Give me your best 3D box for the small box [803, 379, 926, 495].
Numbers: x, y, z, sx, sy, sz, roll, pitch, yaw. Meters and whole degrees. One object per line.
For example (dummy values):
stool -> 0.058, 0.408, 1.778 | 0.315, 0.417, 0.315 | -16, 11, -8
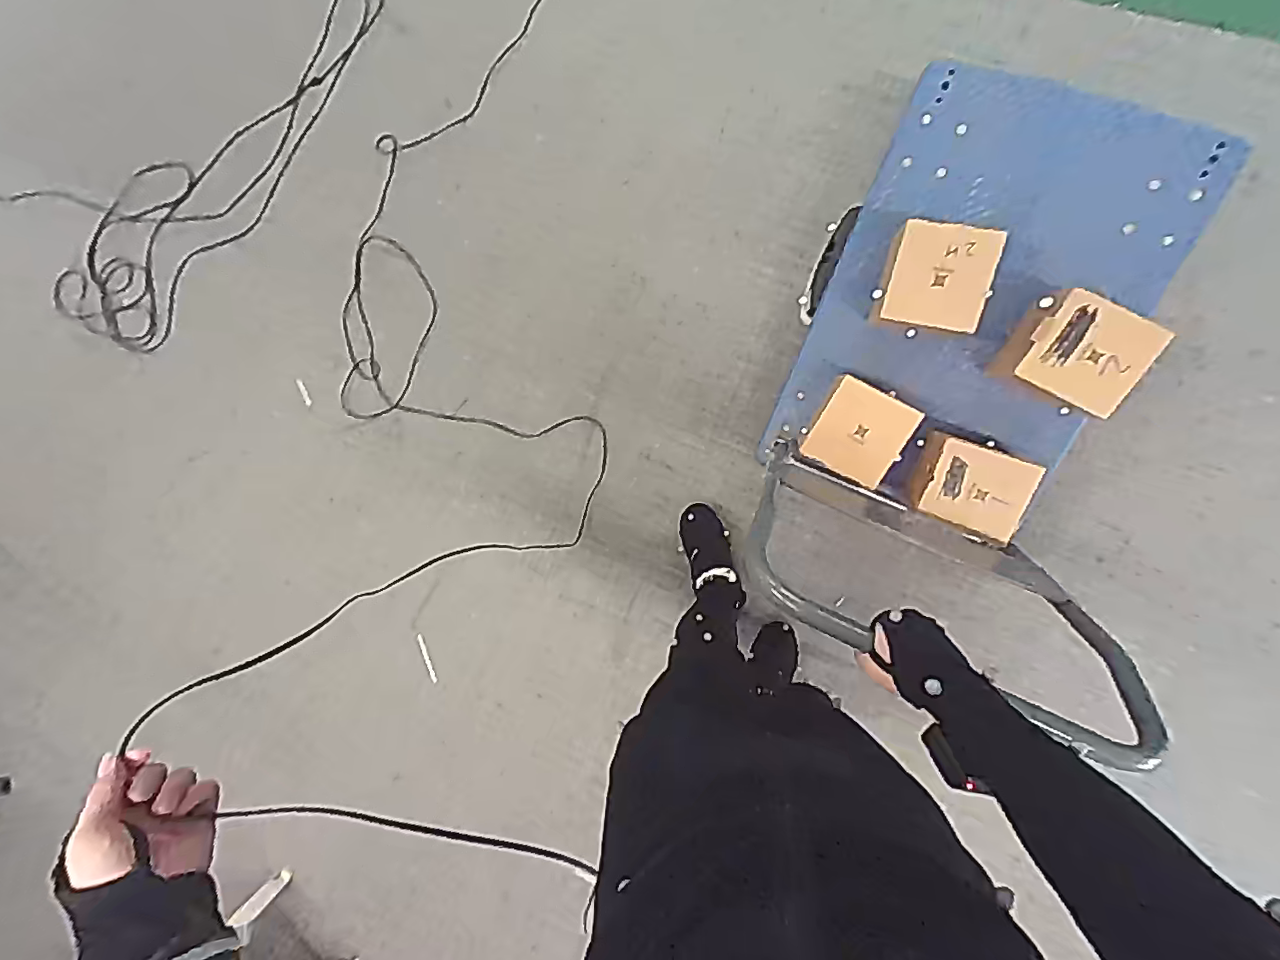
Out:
small box -> 0.453, -0.098, 1.125 | 0.168, 0.176, 0.179 | 30, 108, 8

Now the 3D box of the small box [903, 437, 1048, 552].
small box -> 0.656, 0.019, 1.087 | 0.179, 0.176, 0.168 | 21, 106, 11

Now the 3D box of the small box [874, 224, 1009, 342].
small box -> 0.563, -0.369, 1.040 | 0.168, 0.176, 0.179 | 15, 105, 12
